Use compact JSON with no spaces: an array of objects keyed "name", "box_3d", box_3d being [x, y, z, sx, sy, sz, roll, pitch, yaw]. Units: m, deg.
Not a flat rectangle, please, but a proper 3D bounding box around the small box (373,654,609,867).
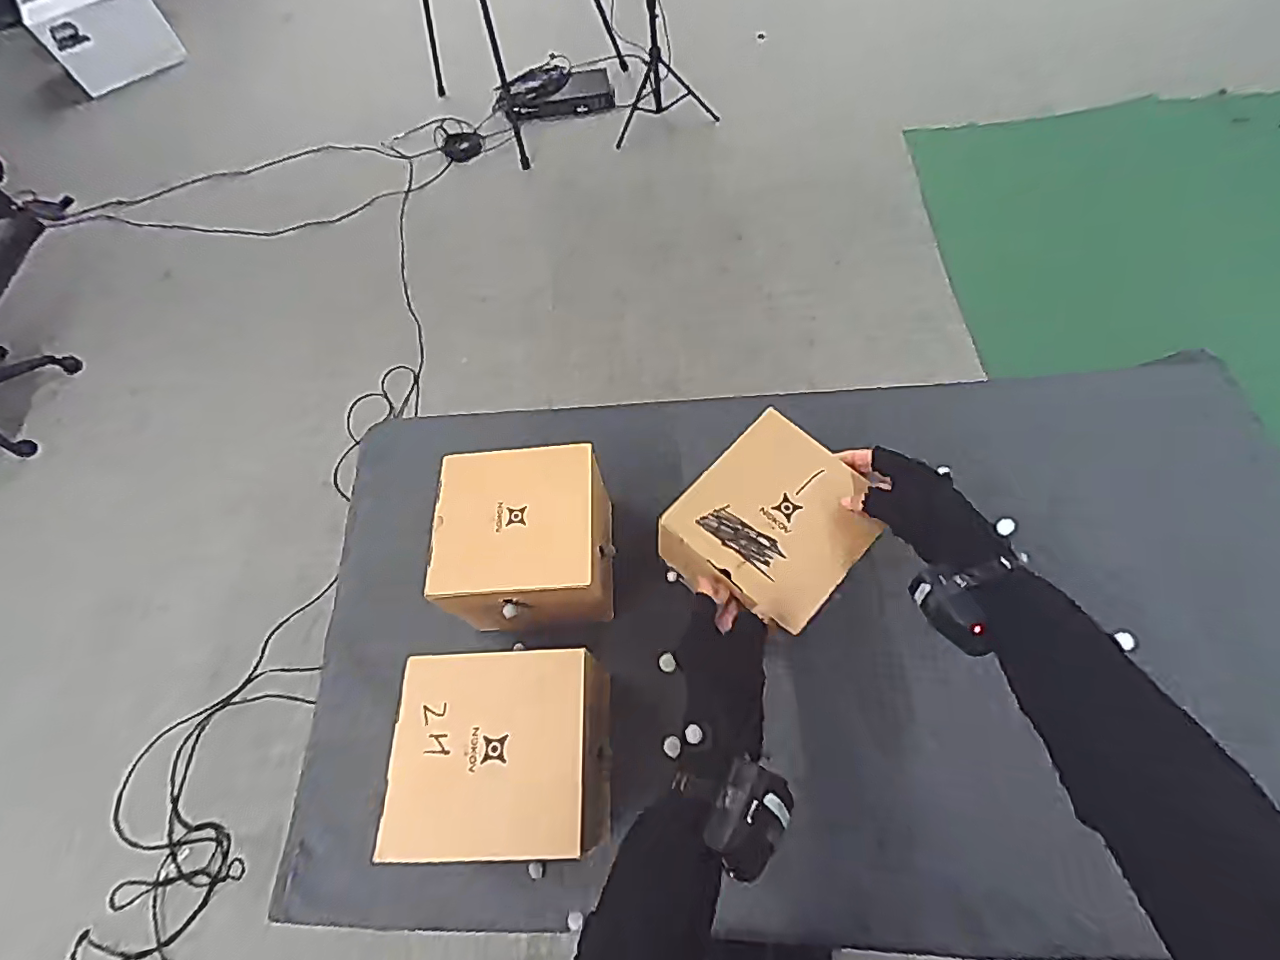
[{"name":"small box","box_3d":[-0.126,0.275,0.541,0.179,0.176,0.168,-4,61,4]}]
